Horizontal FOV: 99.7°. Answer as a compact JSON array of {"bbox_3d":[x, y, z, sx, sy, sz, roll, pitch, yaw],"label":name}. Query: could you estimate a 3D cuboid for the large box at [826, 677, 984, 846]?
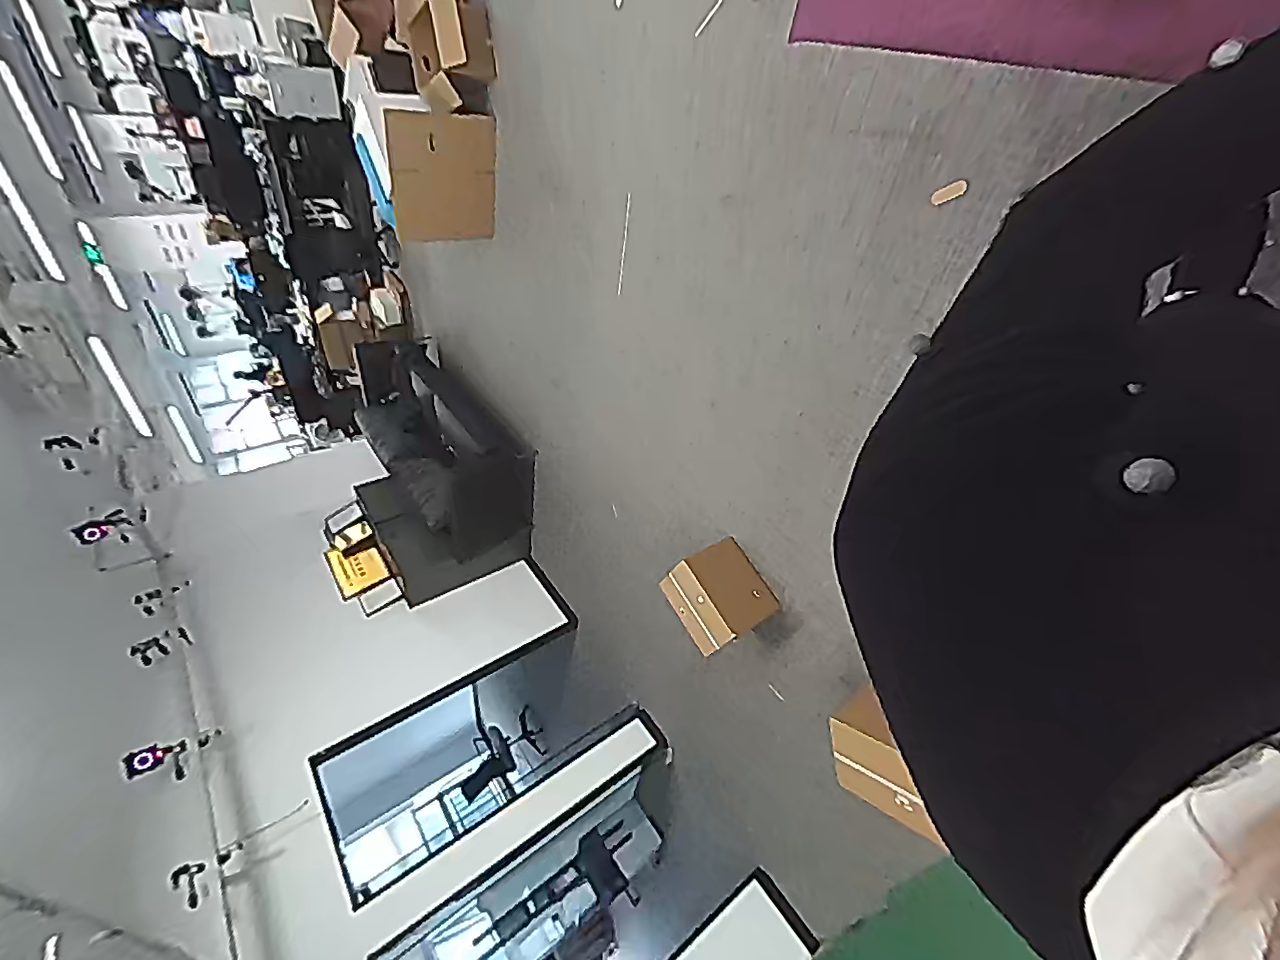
[{"bbox_3d":[0.941,0.971,1.927,0.408,0.320,0.320,7,114,53],"label":"large box"}]
